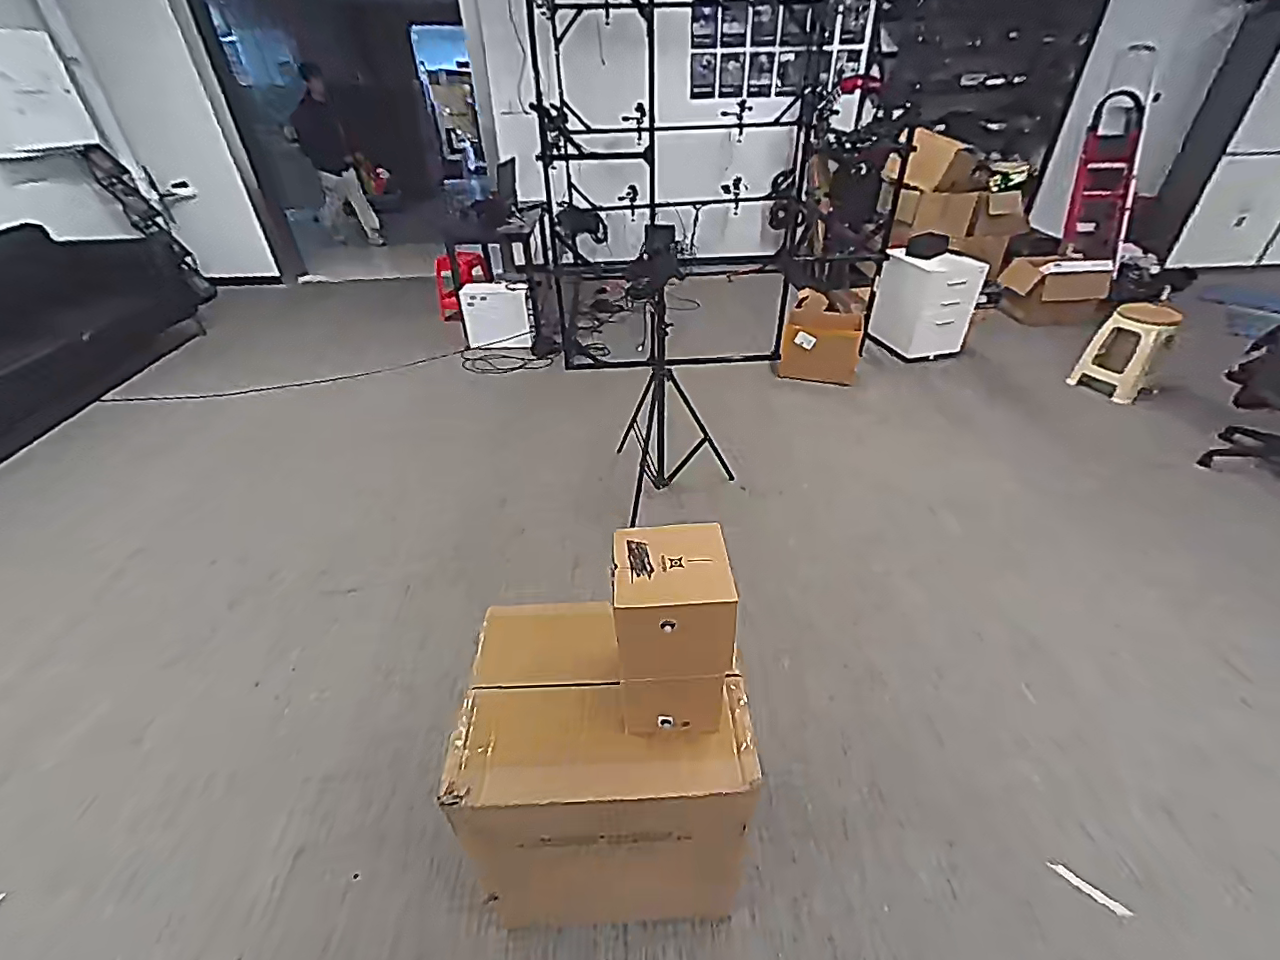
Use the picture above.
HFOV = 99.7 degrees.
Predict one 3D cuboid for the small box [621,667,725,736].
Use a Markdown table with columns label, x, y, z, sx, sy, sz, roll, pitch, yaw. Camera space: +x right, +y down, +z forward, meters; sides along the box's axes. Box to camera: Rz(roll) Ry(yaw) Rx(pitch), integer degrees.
| label | x | y | z | sx | sy | sz | roll | pitch | yaw |
| --- | --- | --- | --- | --- | --- | --- | --- | --- | --- |
| small box | 0.053 | 0.325 | 0.959 | 0.168 | 0.176 | 0.179 | -5 | 37 | 0 |

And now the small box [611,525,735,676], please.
| label | x | y | z | sx | sy | sz | roll | pitch | yaw |
| --- | --- | --- | --- | --- | --- | --- | --- | --- | --- |
| small box | 0.048 | 0.193 | 0.860 | 0.179 | 0.176 | 0.168 | -4 | 37 | -1 |
